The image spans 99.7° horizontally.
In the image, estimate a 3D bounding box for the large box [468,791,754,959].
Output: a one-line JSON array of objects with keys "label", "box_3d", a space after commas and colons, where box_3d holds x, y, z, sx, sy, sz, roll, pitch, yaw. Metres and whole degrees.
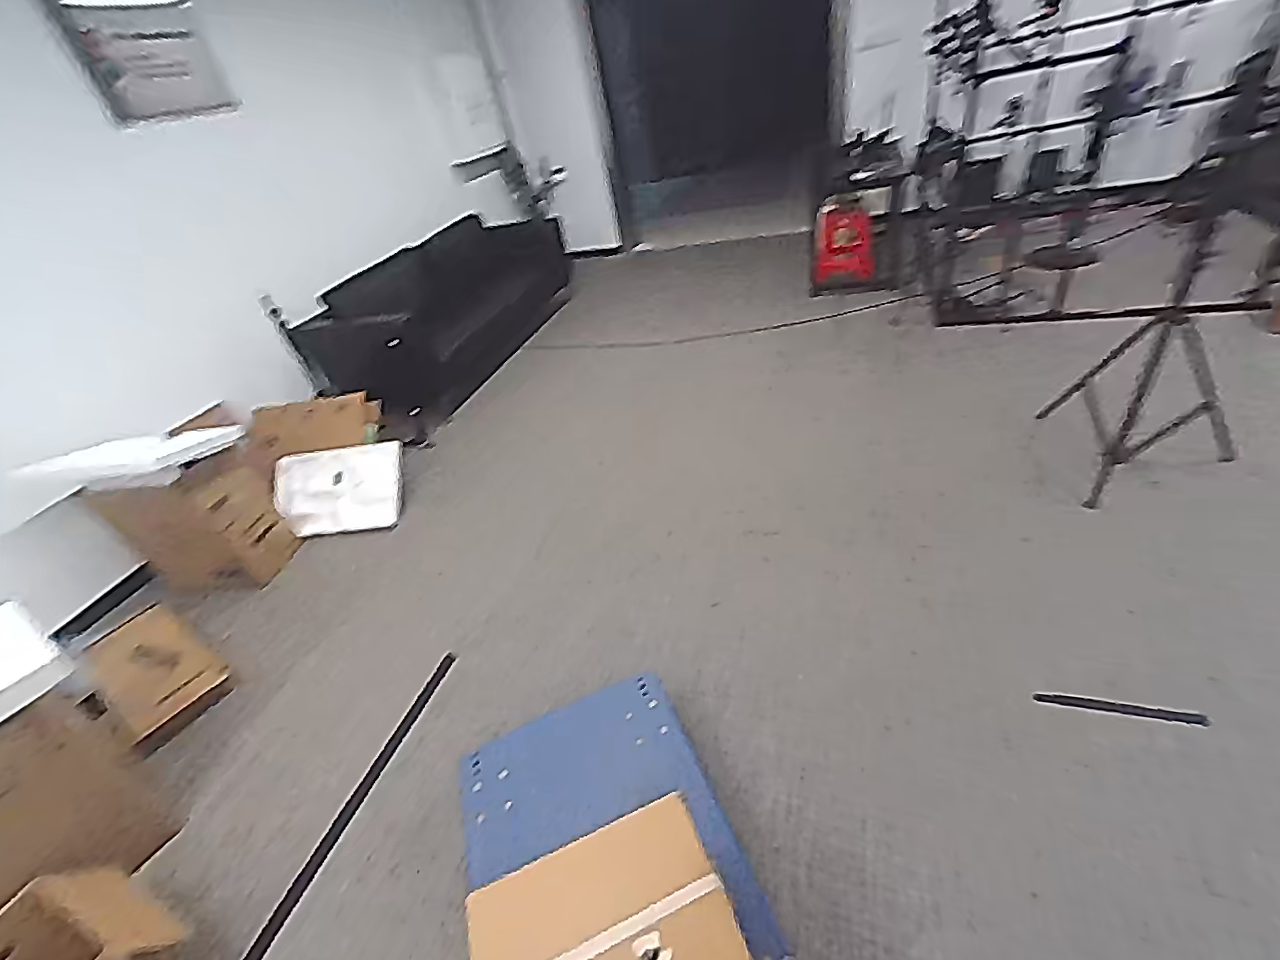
[{"label": "large box", "box_3d": [-0.033, 0.838, 0.927, 0.408, 0.320, 0.320, -20, 37, -12]}]
